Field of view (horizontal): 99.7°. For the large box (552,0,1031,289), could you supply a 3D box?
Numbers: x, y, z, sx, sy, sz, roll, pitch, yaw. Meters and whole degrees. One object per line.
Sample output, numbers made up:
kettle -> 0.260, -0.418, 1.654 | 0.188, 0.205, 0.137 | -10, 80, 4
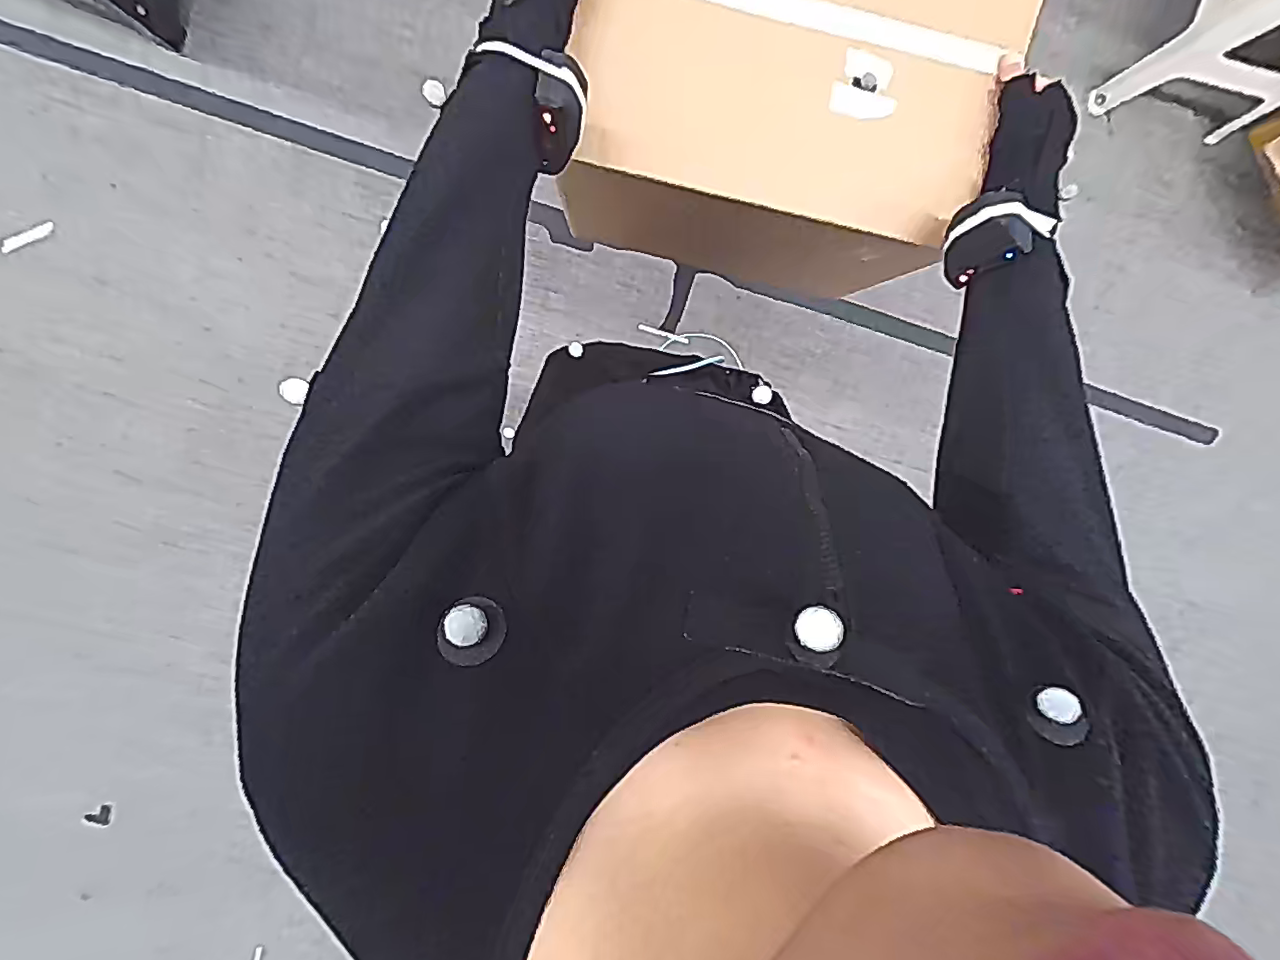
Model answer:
large box -> 0.134, -0.439, 0.624 | 0.408, 0.320, 0.320 | 12, 101, -5
